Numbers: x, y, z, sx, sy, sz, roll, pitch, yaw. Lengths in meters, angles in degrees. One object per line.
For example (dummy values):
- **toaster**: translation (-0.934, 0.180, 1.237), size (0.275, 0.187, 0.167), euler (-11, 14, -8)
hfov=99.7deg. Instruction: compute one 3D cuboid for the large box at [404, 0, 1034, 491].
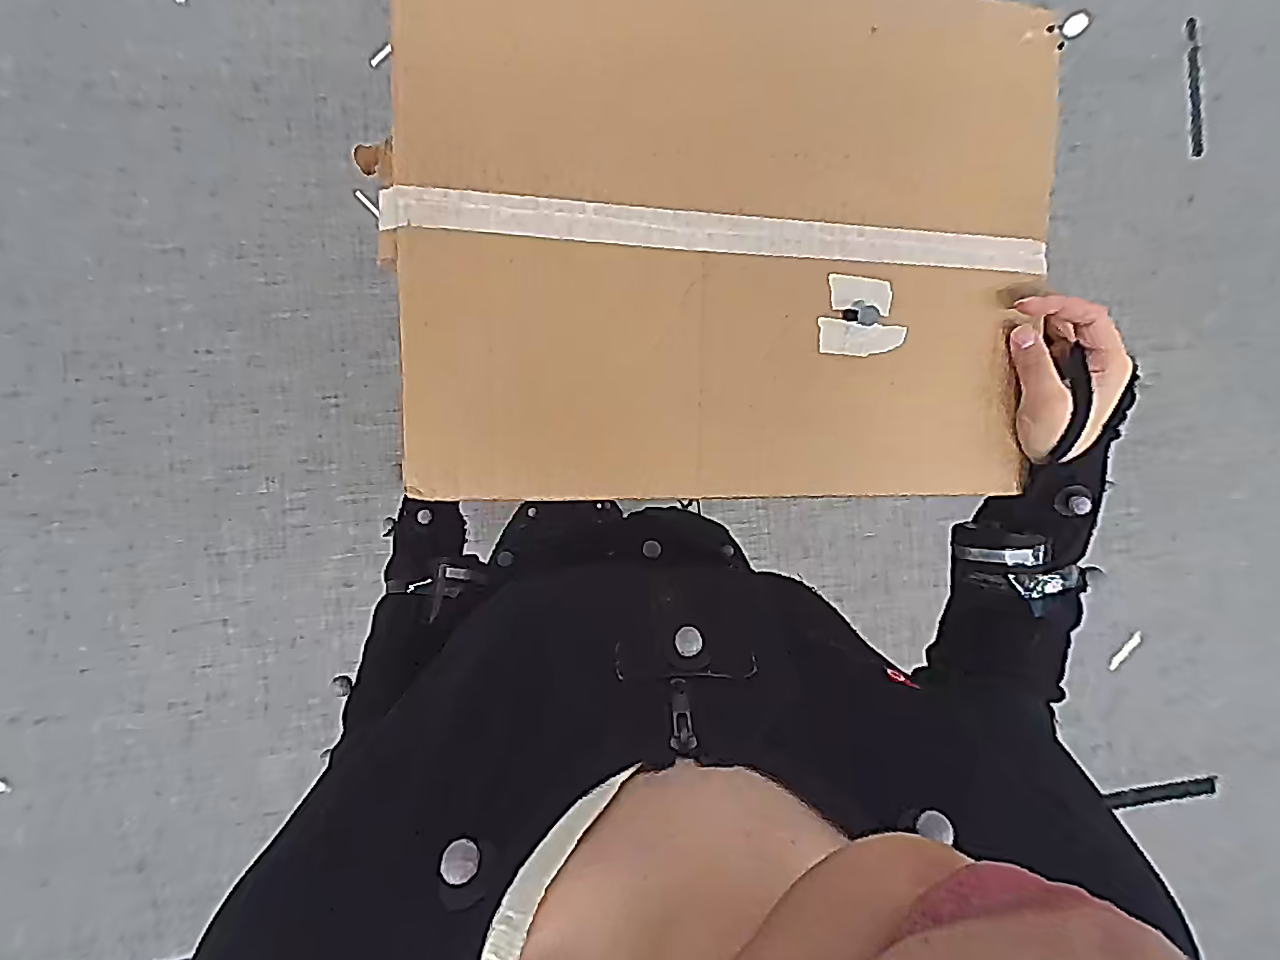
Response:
- **large box**: translation (0.038, -0.163, 0.477), size (0.408, 0.320, 0.320), euler (-1, 95, -12)
